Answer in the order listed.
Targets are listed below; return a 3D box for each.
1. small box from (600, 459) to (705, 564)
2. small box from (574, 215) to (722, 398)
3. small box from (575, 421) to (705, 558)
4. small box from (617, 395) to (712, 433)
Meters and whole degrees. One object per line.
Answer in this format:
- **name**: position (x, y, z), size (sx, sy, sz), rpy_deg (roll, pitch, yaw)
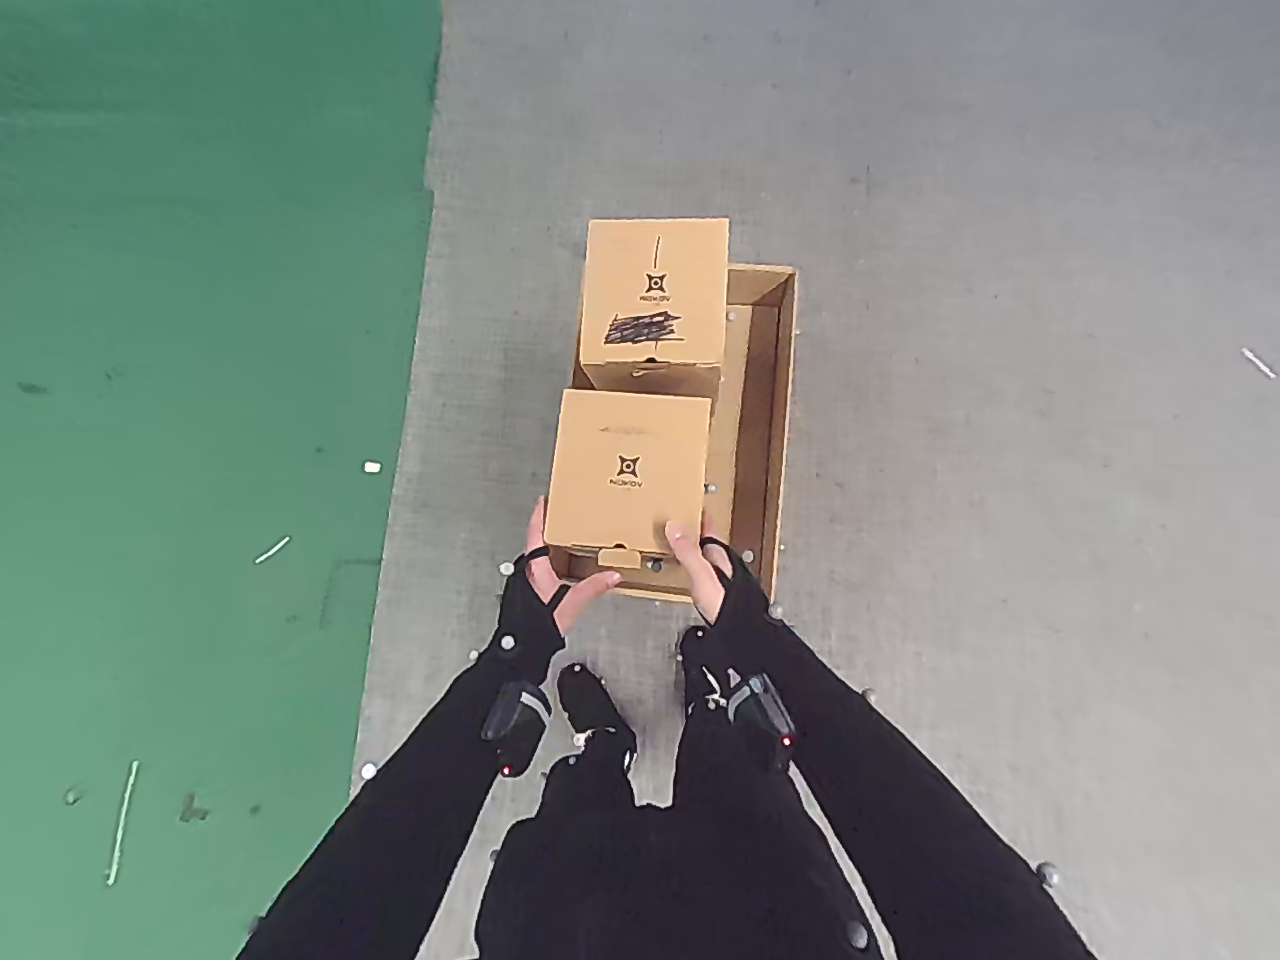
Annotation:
- **small box**: position (0.026, 0.052, 0.978), size (0.168, 0.176, 0.179), rpy_deg (5, 80, 7)
- **small box**: position (0.019, -0.208, 0.694), size (0.168, 0.176, 0.179), rpy_deg (2, 83, 7)
- **small box**: position (0.009, 0.023, 0.818), size (0.168, 0.176, 0.179), rpy_deg (6, 80, 6)
- **small box**: position (0.055, -0.193, 1.022), size (0.168, 0.176, 0.179), rpy_deg (4, 84, 6)
